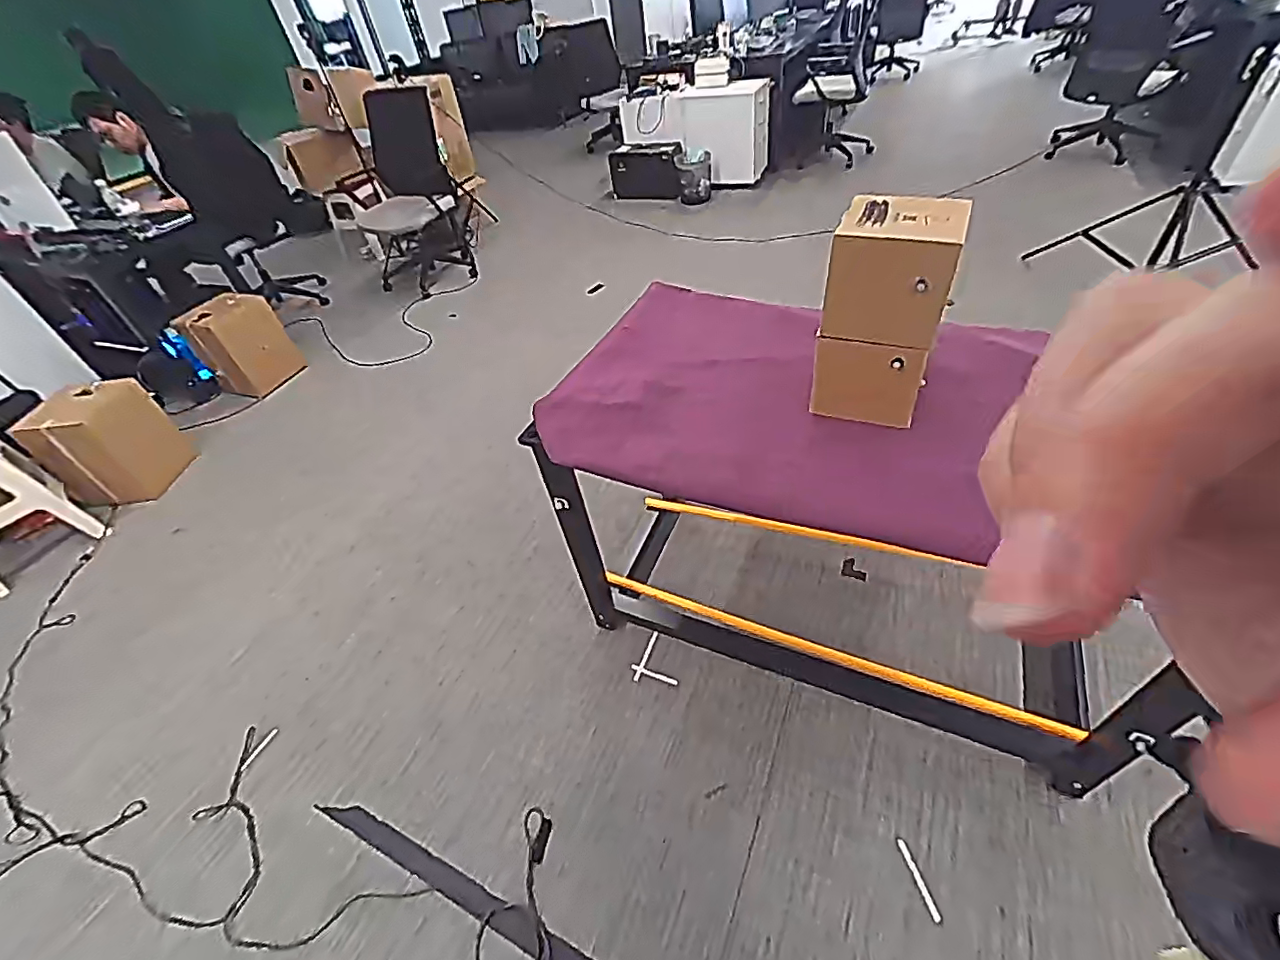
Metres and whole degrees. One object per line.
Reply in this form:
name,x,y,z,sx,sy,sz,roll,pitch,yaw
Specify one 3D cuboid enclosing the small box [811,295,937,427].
small box,0.419,-0.217,0.985,0.179,0.176,0.168,14,49,22
